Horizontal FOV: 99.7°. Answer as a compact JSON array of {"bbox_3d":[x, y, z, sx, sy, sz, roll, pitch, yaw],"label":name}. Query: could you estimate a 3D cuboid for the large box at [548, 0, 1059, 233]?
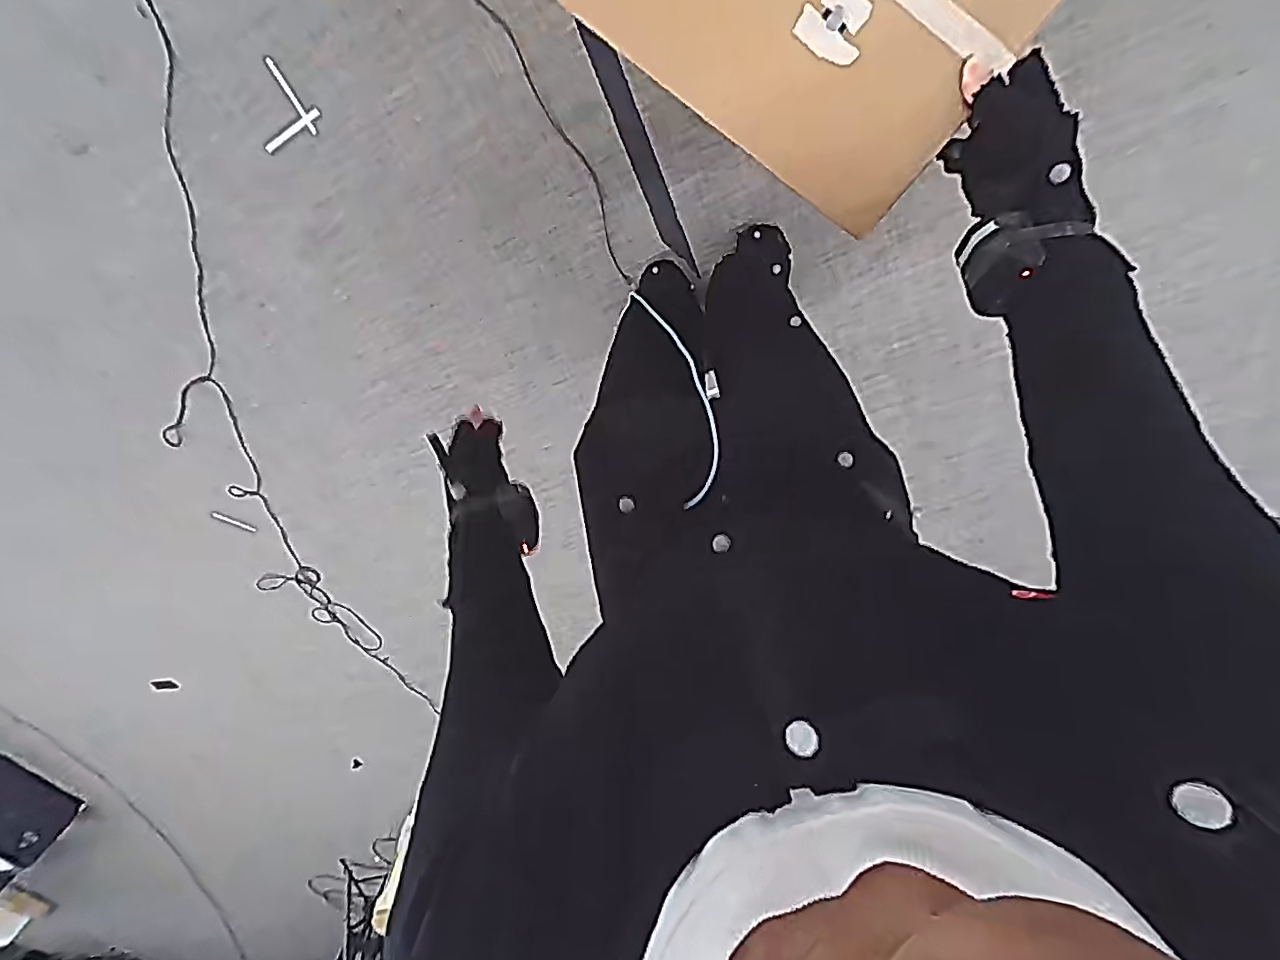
[{"bbox_3d":[0.173,-0.531,0.559,0.408,0.320,0.320,34,126,-7],"label":"large box"}]
